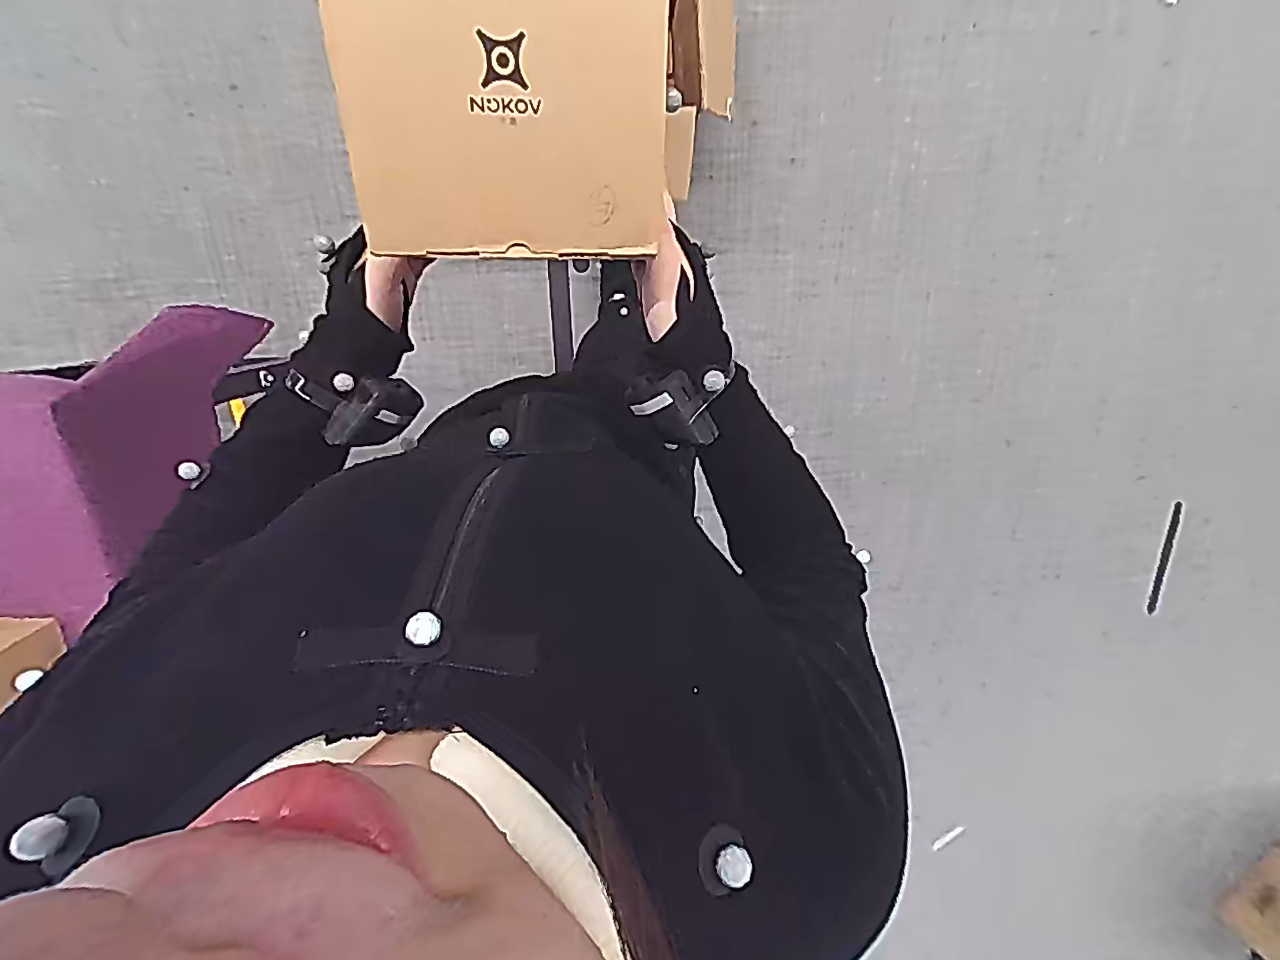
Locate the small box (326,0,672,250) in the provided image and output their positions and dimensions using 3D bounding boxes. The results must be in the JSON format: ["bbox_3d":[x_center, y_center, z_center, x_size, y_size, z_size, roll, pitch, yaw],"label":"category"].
[{"bbox_3d":[-0.073,-0.248,0.337,0.168,0.176,0.179,-2,118,-6],"label":"small box"}]

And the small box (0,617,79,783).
[{"bbox_3d":[-0.889,0.288,0.693,0.179,0.176,0.168,1,108,-3],"label":"small box"}]
